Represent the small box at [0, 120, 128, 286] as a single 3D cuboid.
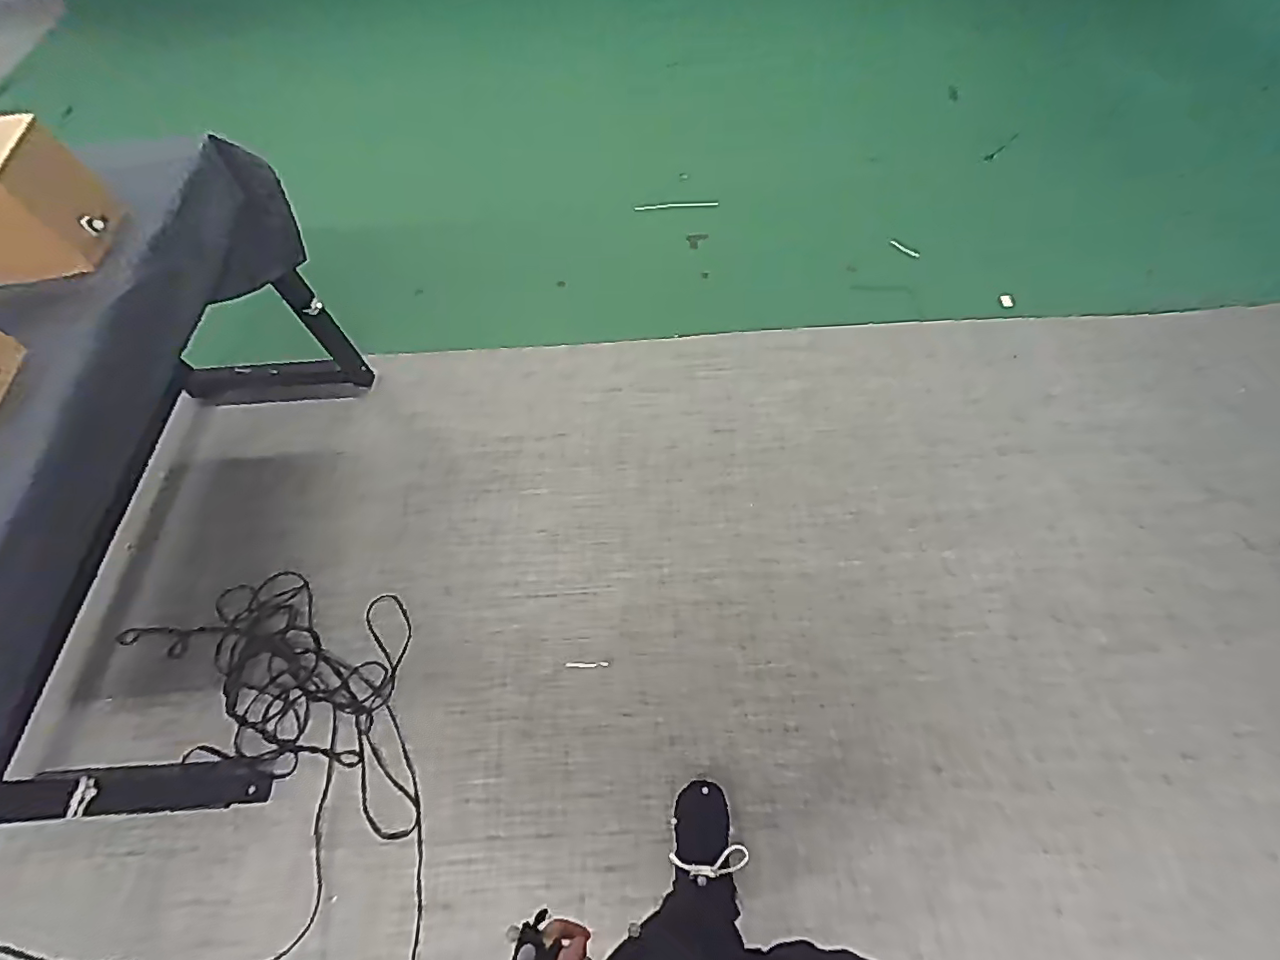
[{"bbox_3d":[-0.993,-0.432,0.860,0.179,0.176,0.168,-9,62,-3],"label":"small box"}]
